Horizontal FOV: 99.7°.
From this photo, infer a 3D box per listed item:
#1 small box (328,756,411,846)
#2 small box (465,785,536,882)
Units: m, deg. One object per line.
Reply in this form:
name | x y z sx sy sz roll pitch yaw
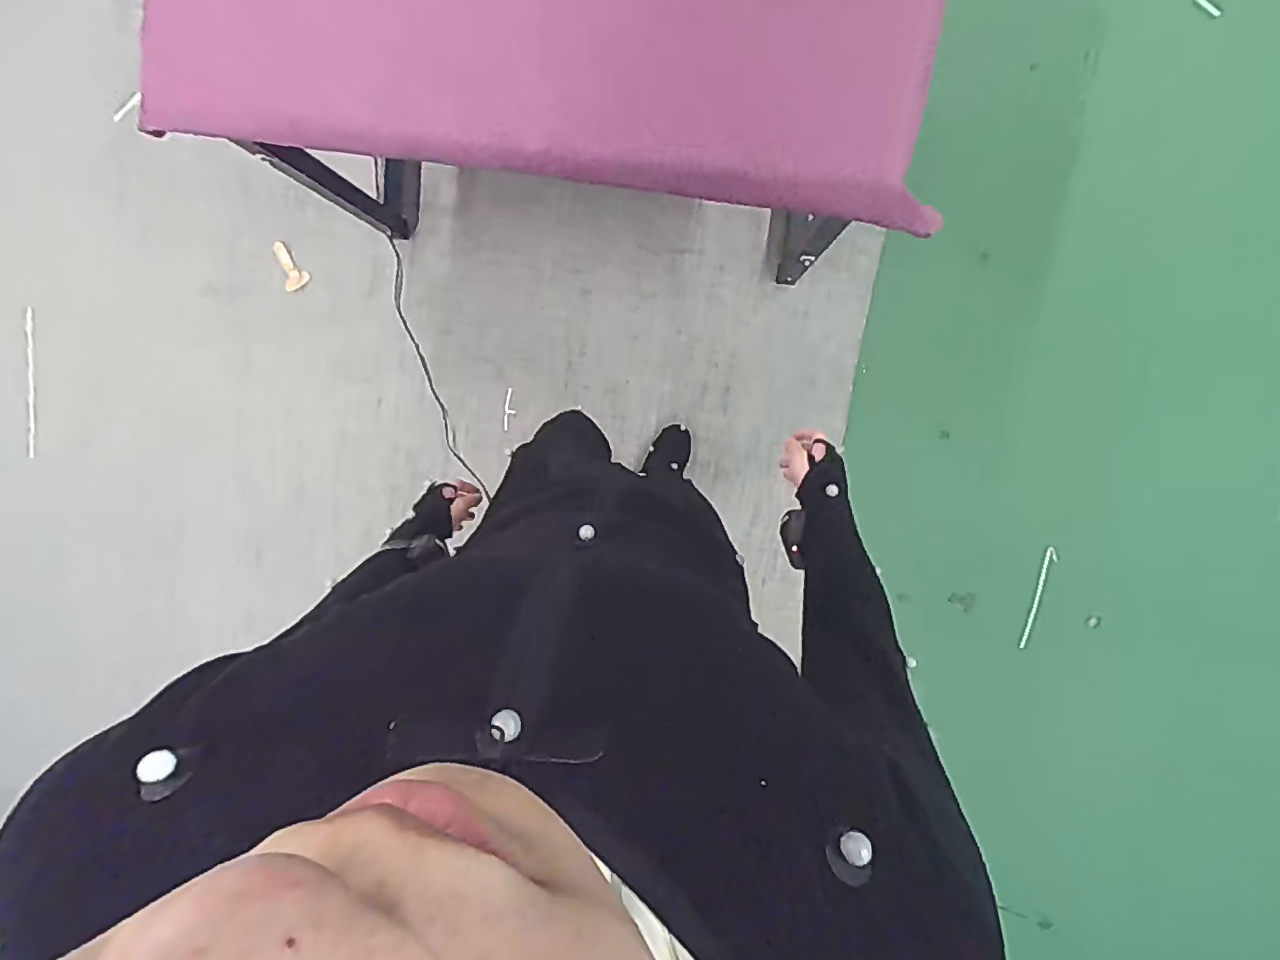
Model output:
small box | -0.861 1.022 1.734 0.179 0.176 0.168 12 99 3
small box | -0.437 1.116 1.717 0.168 0.176 0.179 11 99 2
